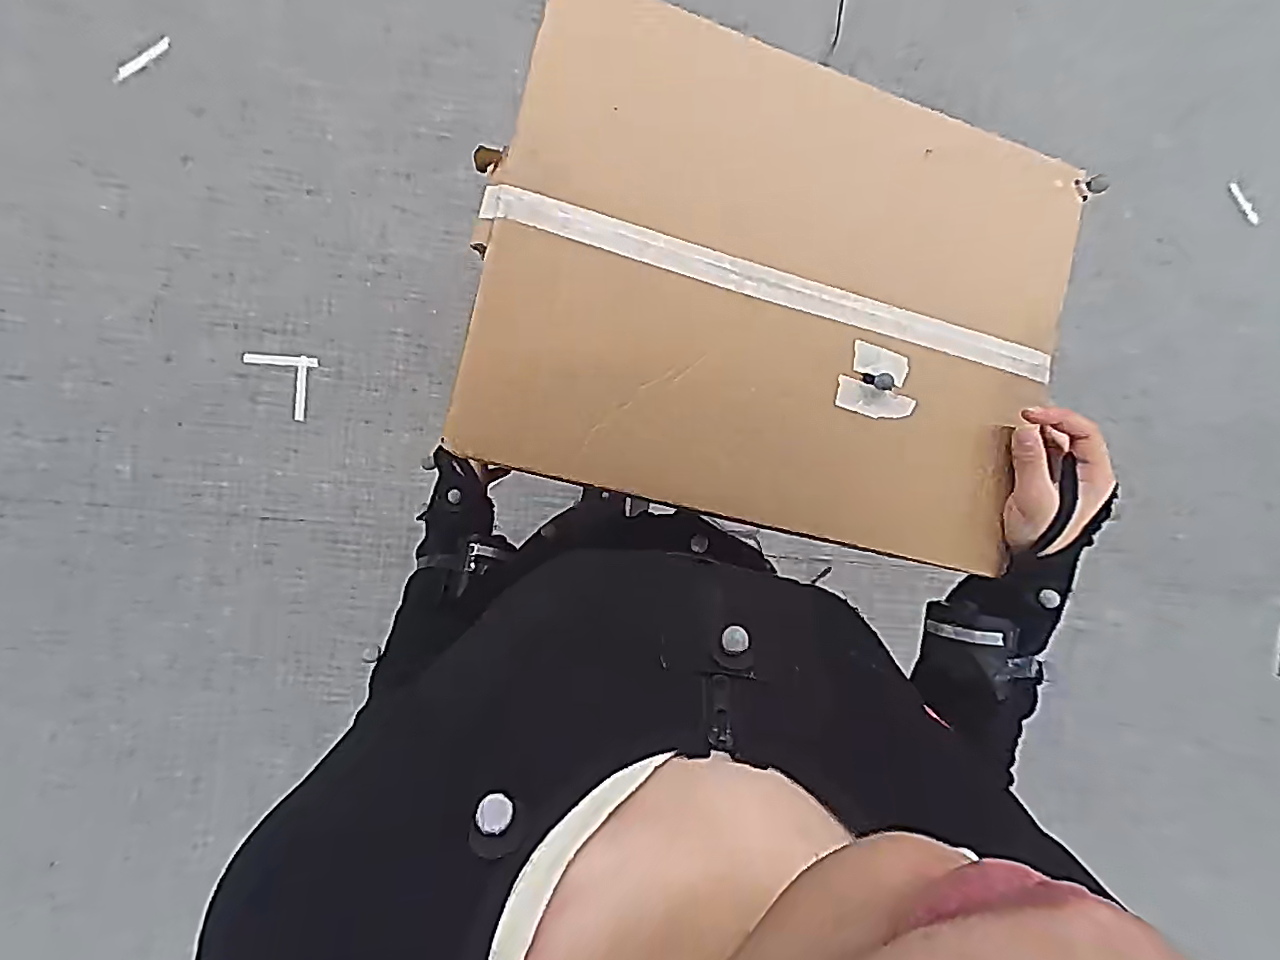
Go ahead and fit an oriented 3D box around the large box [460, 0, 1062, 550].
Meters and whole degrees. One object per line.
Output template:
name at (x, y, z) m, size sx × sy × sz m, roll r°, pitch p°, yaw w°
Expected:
large box at (0.076, -0.136, 0.519) m, size 0.408 × 0.320 × 0.320 m, roll 13°, pitch 89°, yaw -11°
